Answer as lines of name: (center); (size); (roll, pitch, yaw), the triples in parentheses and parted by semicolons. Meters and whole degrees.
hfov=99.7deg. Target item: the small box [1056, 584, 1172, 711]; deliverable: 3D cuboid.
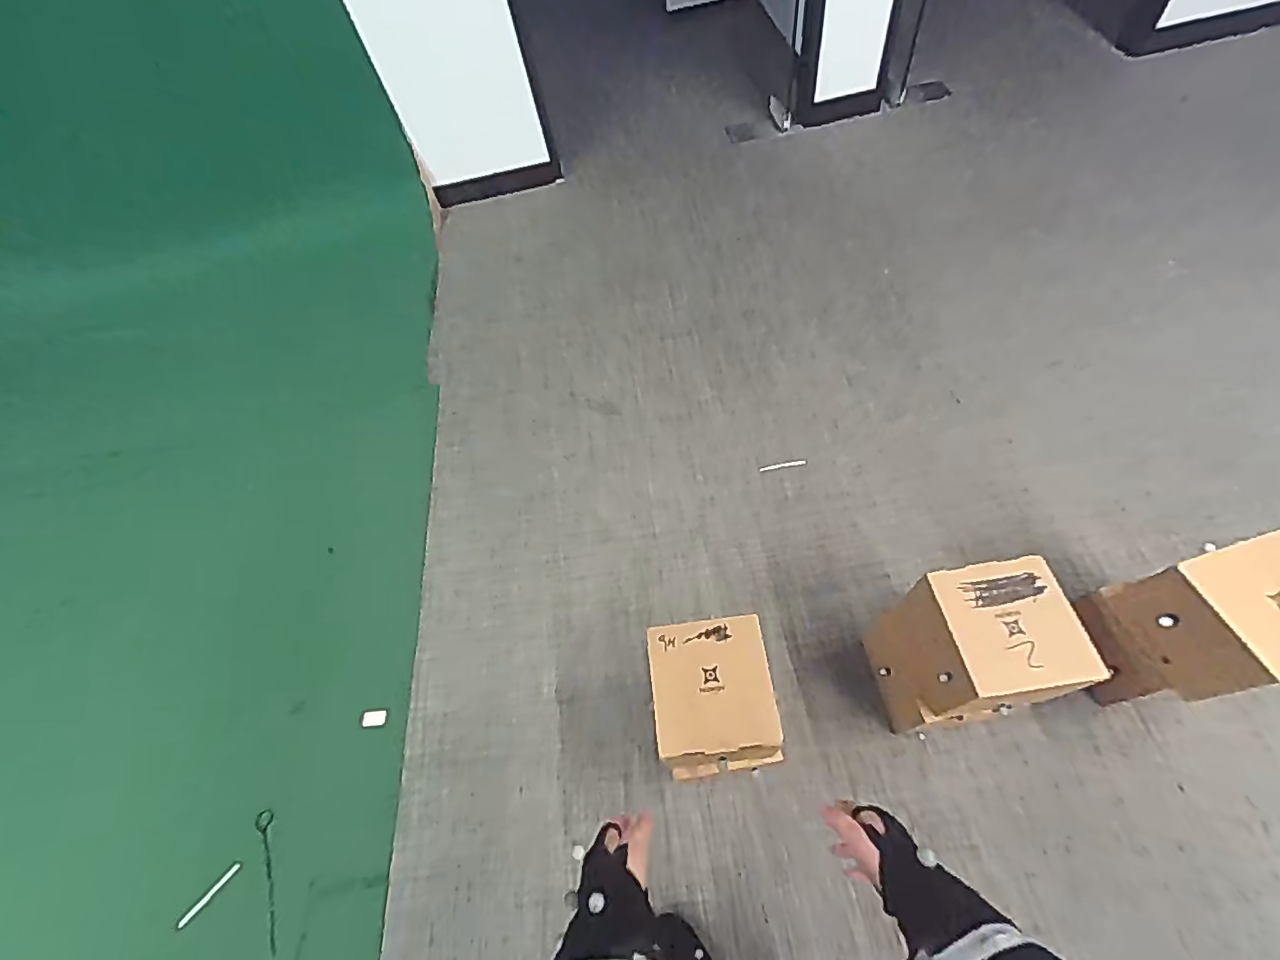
small box: (0.856, 0.280, 0.914); (0.179, 0.176, 0.168); (-13, 58, 1)

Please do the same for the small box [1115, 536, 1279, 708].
small box: (0.839, 0.208, 0.769); (0.179, 0.176, 0.168); (-17, 58, -2)

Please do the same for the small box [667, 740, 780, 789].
small box: (0.130, 0.430, 0.942); (0.179, 0.176, 0.168); (-12, 57, 2)

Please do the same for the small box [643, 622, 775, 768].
small box: (0.102, 0.329, 0.814); (0.168, 0.176, 0.179); (-8, 58, 4)

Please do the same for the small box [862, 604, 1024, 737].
small box: (0.507, 0.336, 0.936); (0.168, 0.176, 0.179); (-11, 57, 2)
